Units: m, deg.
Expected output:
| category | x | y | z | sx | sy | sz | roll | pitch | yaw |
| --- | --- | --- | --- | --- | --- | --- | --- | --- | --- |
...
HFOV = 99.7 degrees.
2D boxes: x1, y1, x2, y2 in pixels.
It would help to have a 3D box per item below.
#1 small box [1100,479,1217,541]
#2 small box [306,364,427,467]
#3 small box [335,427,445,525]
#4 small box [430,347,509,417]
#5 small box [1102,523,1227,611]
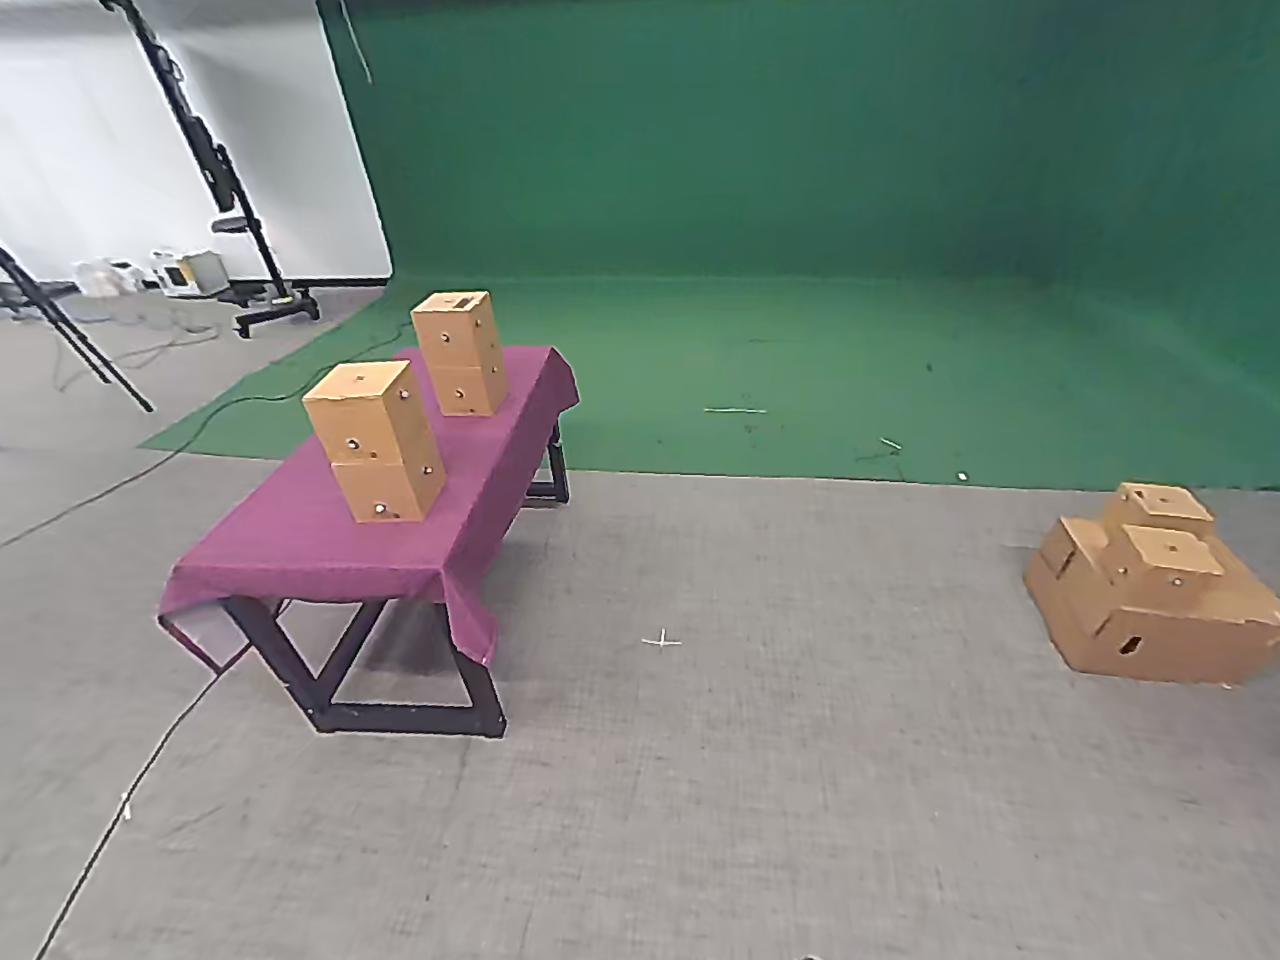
| category | x | y | z | sx | sy | sz | roll | pitch | yaw |
| --- | --- | --- | --- | --- | --- | --- | --- | --- | --- |
| small box | 1.586 | 0.123 | 1.669 | 0.179 | 0.176 | 0.168 | 8 | 36 | 11 |
| small box | -0.595 | -0.146 | 1.207 | 0.168 | 0.176 | 0.179 | -2 | 37 | 2 |
| small box | -0.586 | -0.011 | 1.299 | 0.168 | 0.176 | 0.179 | -2 | 37 | 3 |
| small box | -0.527 | -0.309 | 1.705 | 0.168 | 0.176 | 0.179 | 3 | 36 | 8 |
| small box | 1.441 | 0.244 | 1.508 | 0.179 | 0.176 | 0.168 | 8 | 39 | 12 |
